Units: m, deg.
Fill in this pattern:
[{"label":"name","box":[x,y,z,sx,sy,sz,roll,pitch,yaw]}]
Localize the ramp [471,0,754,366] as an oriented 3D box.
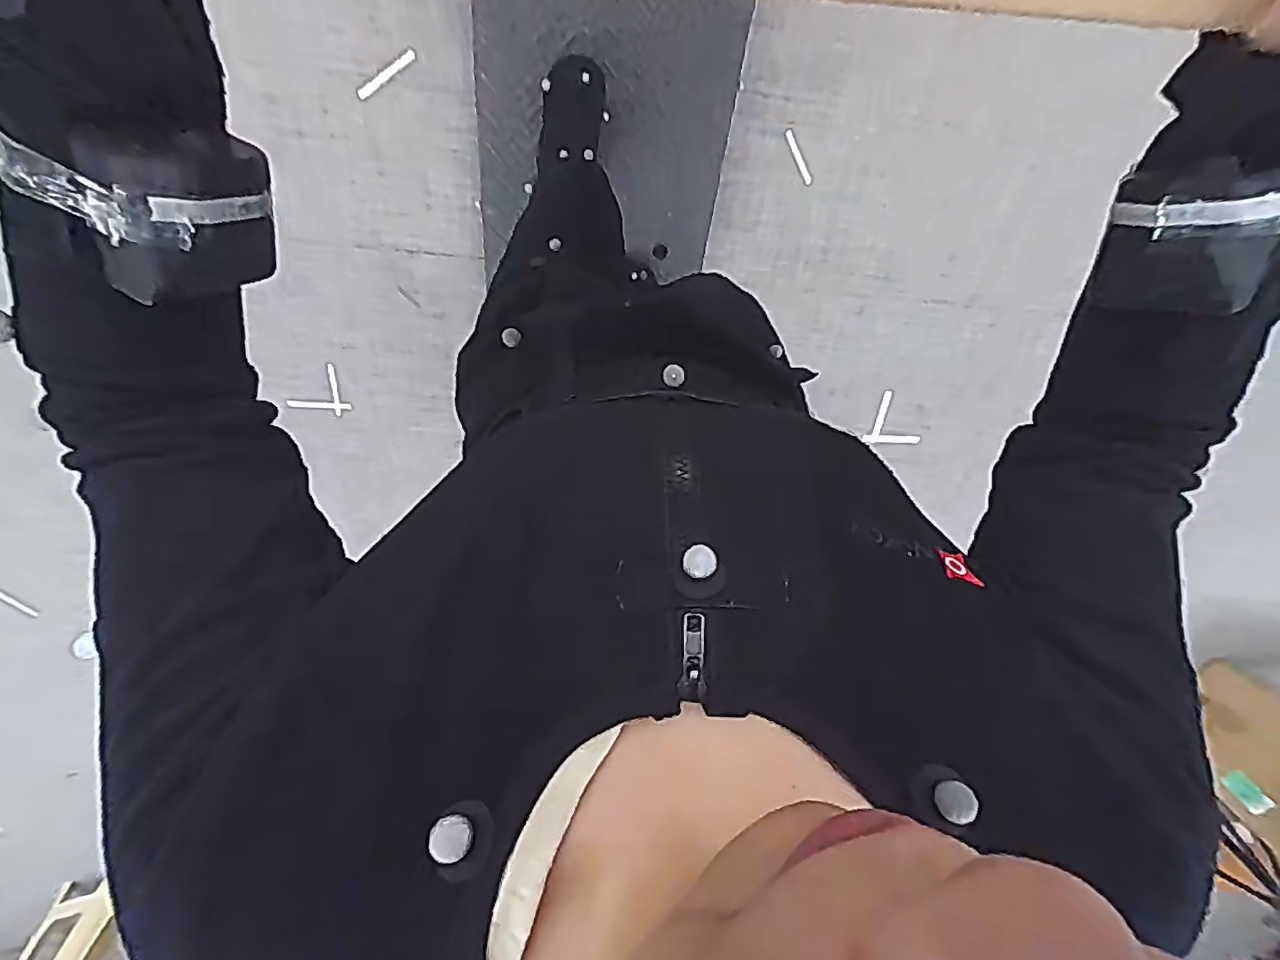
[{"label":"ramp","box":[-0.068,-0.688,1.059,0.509,0.206,0.991,2,121,-7]}]
